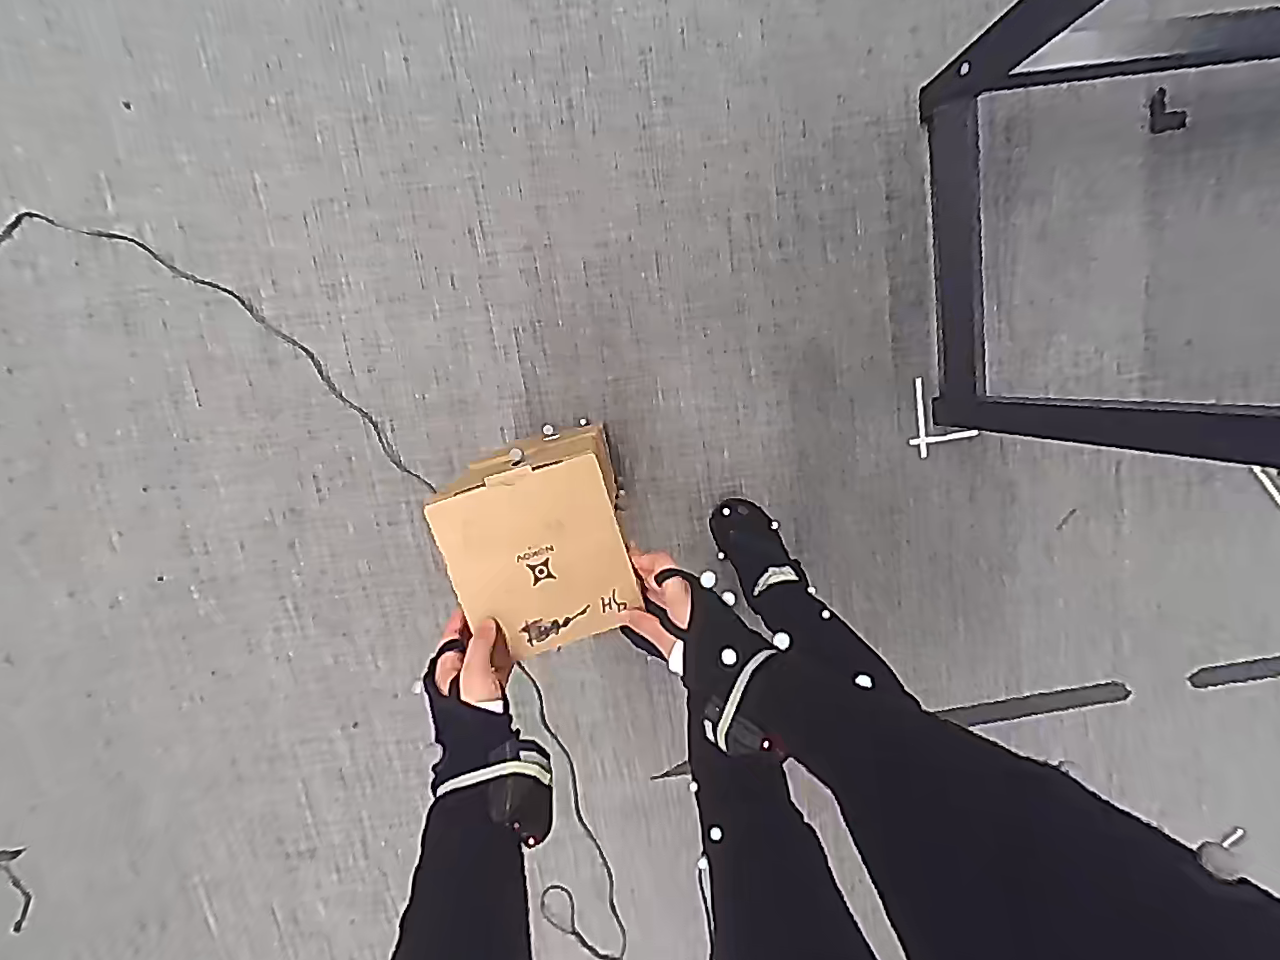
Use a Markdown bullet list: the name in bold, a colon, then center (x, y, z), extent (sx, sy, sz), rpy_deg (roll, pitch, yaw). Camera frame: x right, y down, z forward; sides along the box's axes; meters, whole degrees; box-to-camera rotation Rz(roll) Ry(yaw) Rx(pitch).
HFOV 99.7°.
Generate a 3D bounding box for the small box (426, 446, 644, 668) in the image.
- **small box**: center (-0.104, 0.066, 0.589), extent (0.168, 0.176, 0.179), rpy_deg (-18, 100, -3)

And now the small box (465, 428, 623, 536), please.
- **small box**: center (-0.119, 0.034, 0.751), extent (0.168, 0.176, 0.179), rpy_deg (-15, 99, -2)
